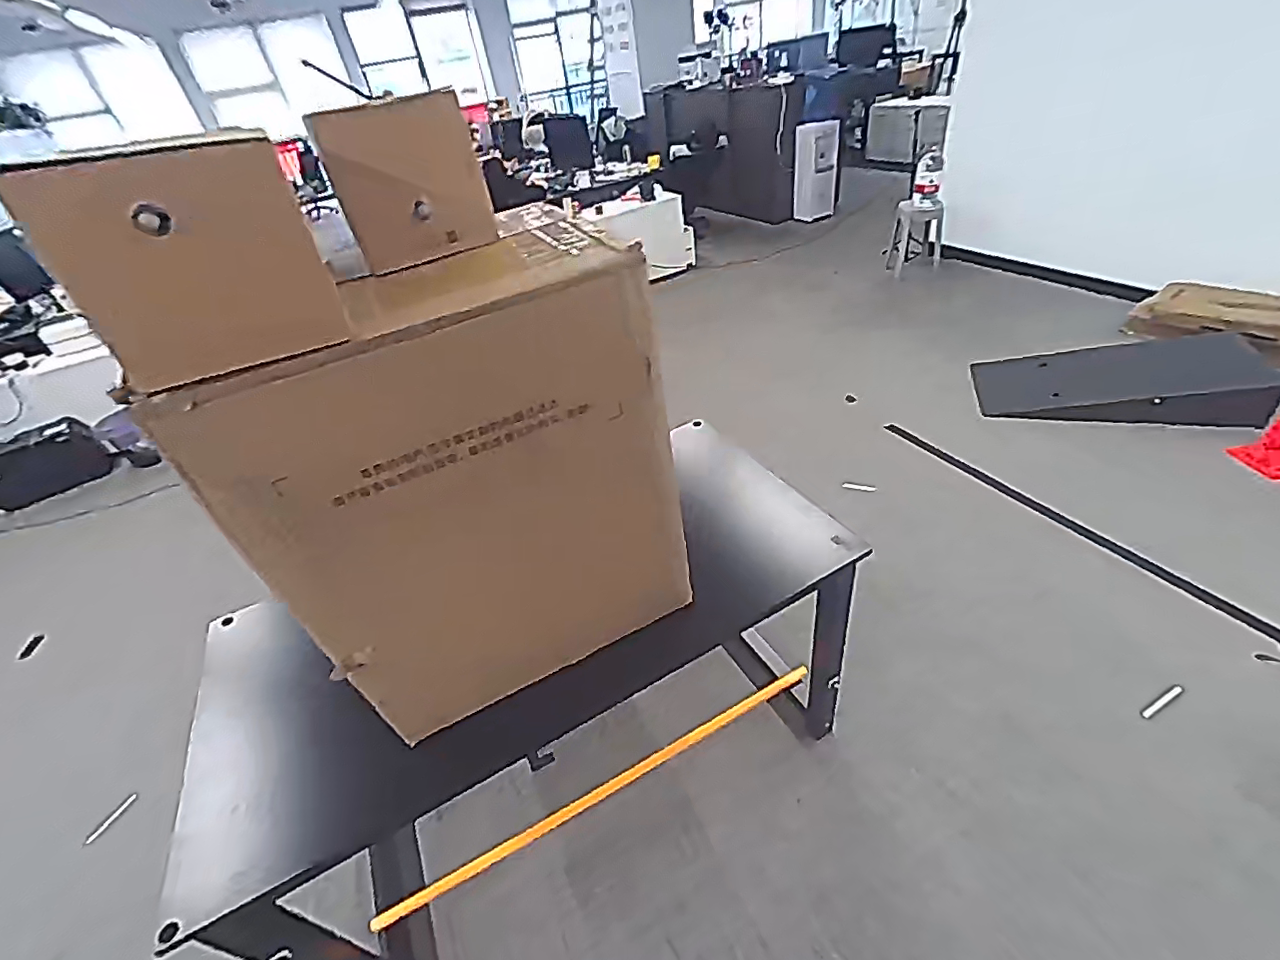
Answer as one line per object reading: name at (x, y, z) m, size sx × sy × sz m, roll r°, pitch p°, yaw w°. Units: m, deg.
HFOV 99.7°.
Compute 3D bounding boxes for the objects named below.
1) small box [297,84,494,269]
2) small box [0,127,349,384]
small box at (-0.309, -0.384, 0.692) m, size 0.168 × 0.176 × 0.179 m, roll -26°, pitch 39°, yaw -17°
small box at (-0.393, -0.206, 0.486) m, size 0.179 × 0.176 × 0.168 m, roll -23°, pitch 41°, yaw -21°
